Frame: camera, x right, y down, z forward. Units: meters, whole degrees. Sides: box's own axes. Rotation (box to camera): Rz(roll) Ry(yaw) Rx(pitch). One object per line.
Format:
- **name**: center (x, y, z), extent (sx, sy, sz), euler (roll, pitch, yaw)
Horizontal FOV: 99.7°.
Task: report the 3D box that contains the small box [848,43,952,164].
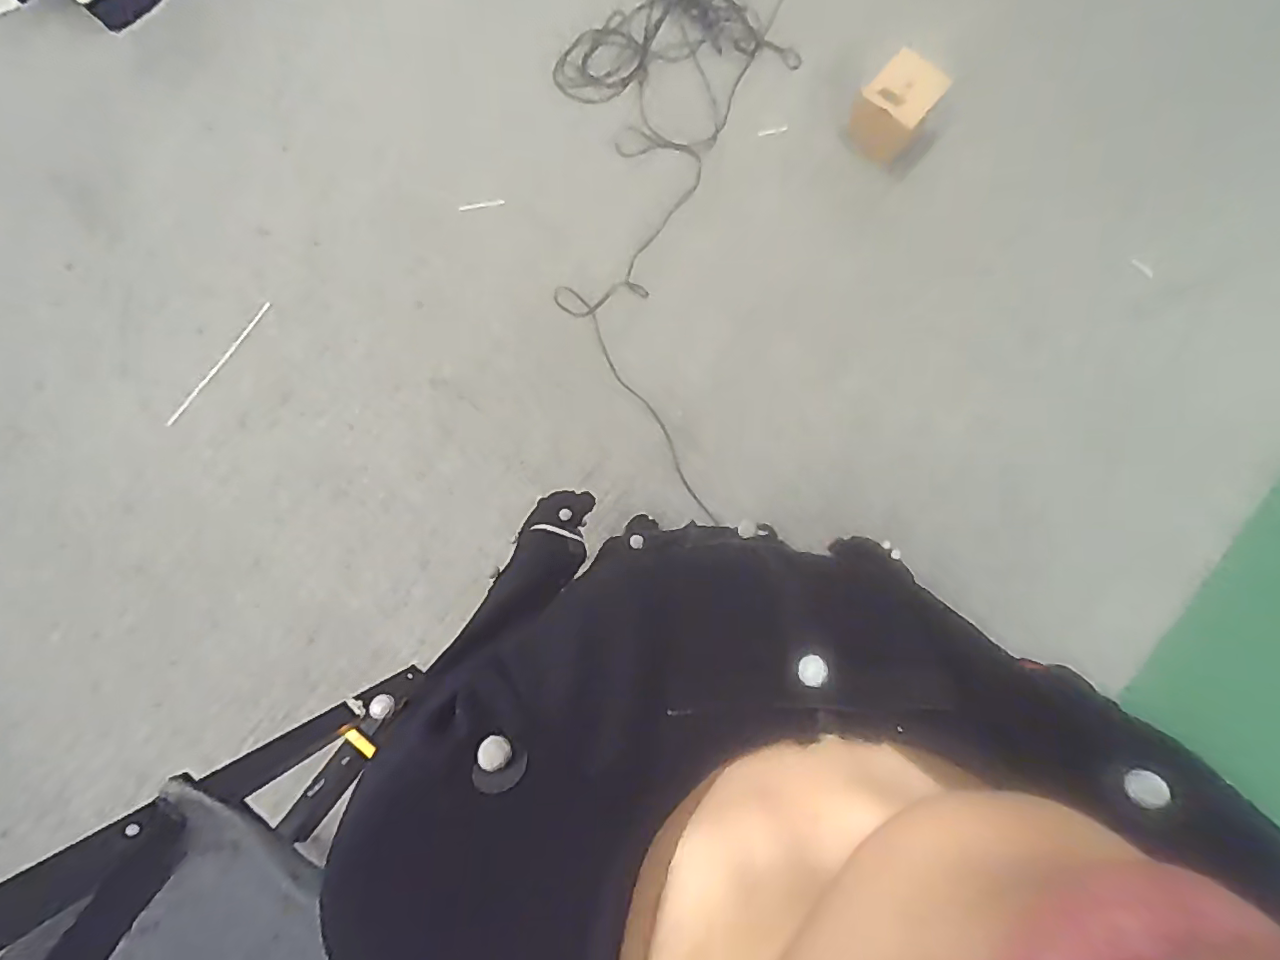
- **small box**: center (0.698, -1.021, 1.482), extent (0.168, 0.176, 0.179), euler (42, 88, 6)
